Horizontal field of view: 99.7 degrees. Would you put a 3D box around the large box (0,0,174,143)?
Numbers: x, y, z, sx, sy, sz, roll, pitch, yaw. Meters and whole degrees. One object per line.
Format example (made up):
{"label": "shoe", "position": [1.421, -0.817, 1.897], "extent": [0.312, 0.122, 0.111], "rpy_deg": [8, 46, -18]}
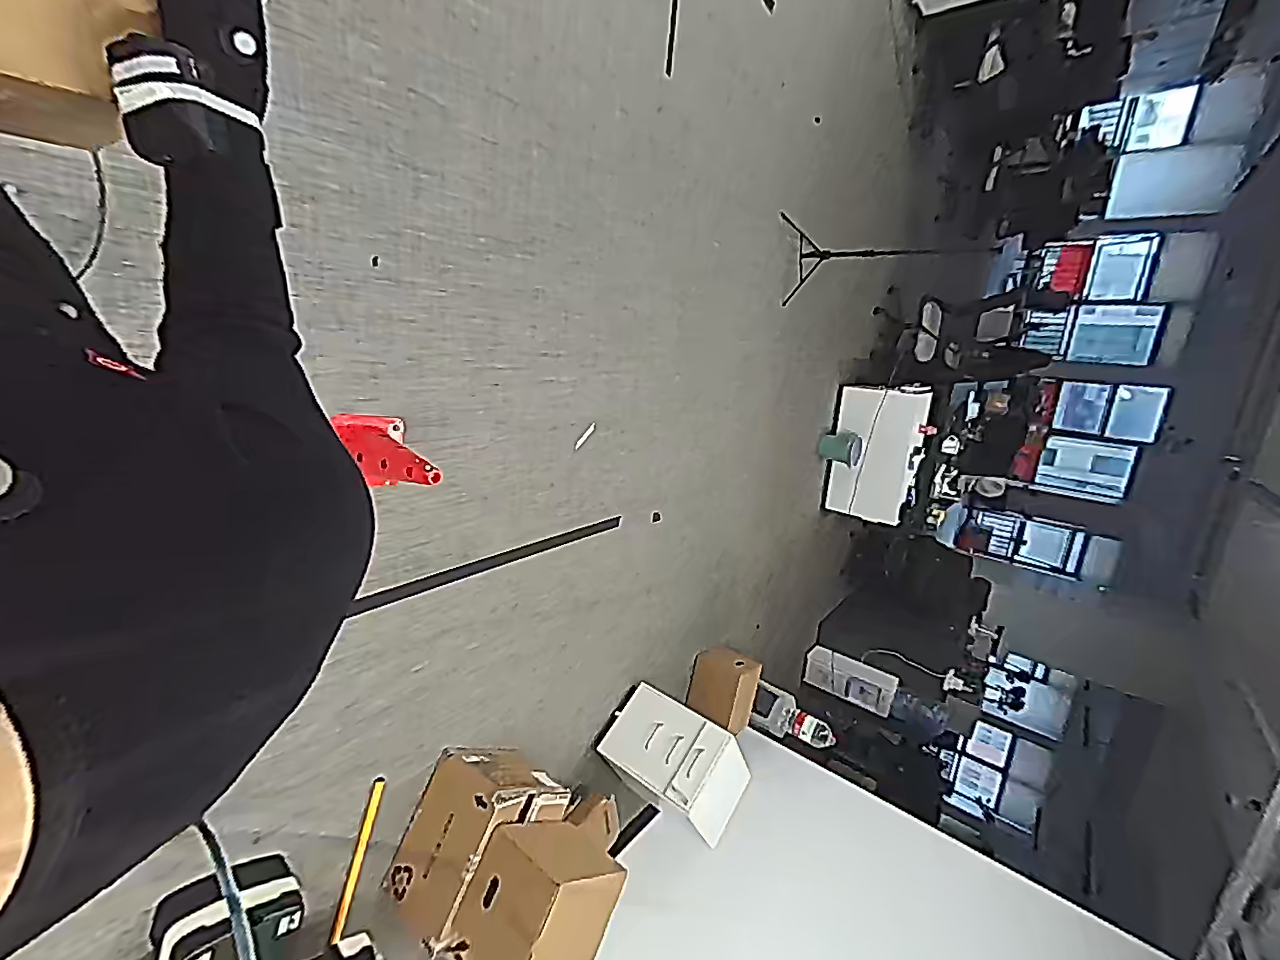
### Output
{"label": "large box", "position": [-0.567, -0.418, 0.285], "extent": [0.408, 0.320, 0.320], "rpy_deg": [-16, 119, -50]}

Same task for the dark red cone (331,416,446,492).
{"label": "dark red cone", "position": [-0.613, -0.038, 1.378], "extent": [0.201, 0.394, 0.202], "rpy_deg": [-4, 106, -50]}
